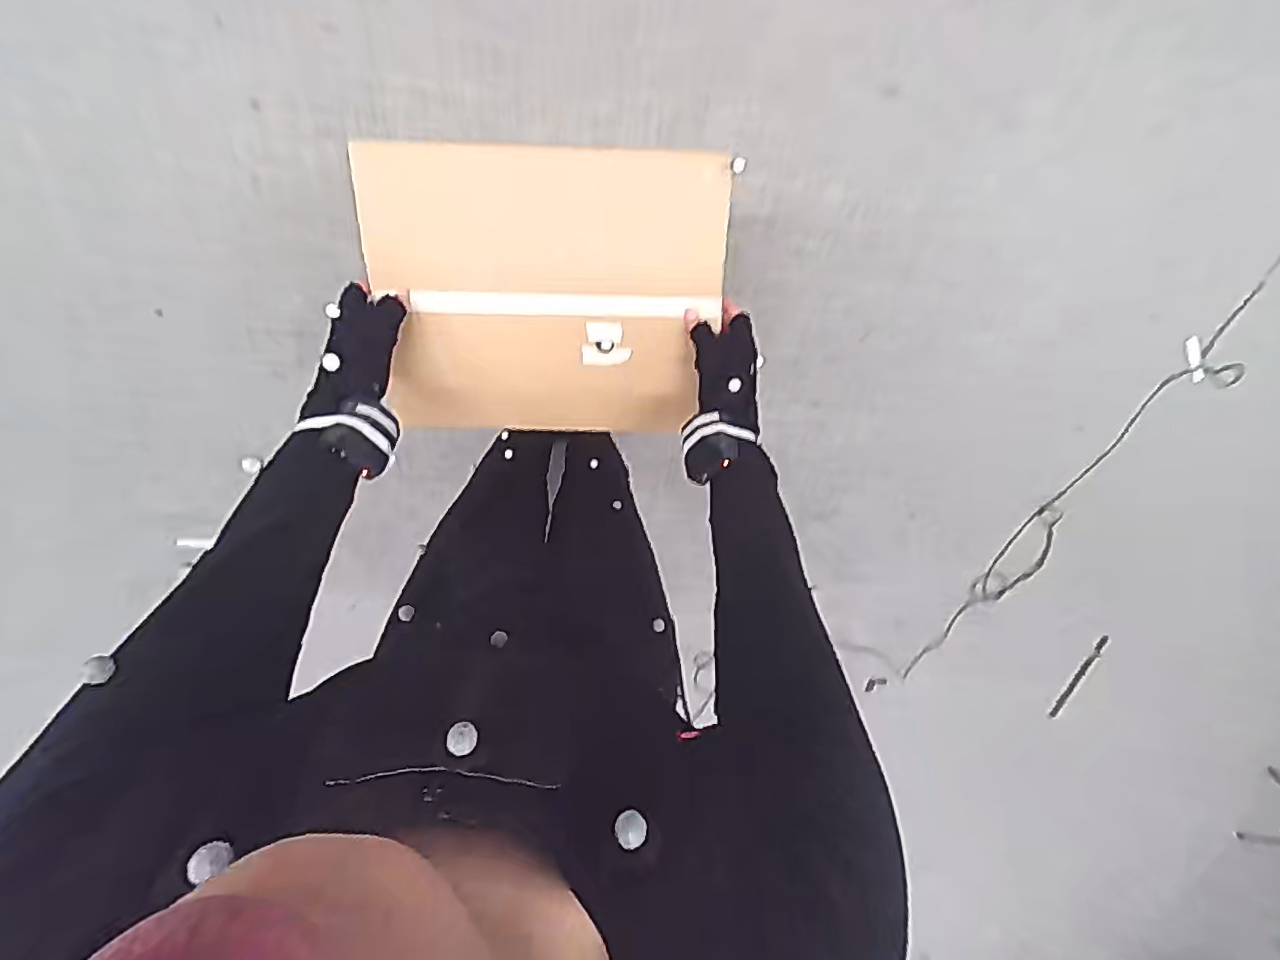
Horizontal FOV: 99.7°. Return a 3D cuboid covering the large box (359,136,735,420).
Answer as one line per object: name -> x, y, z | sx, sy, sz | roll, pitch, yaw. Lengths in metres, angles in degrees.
large box -> -0.104, -0.279, 0.765 | 0.408, 0.320, 0.320 | 0, 116, -2
